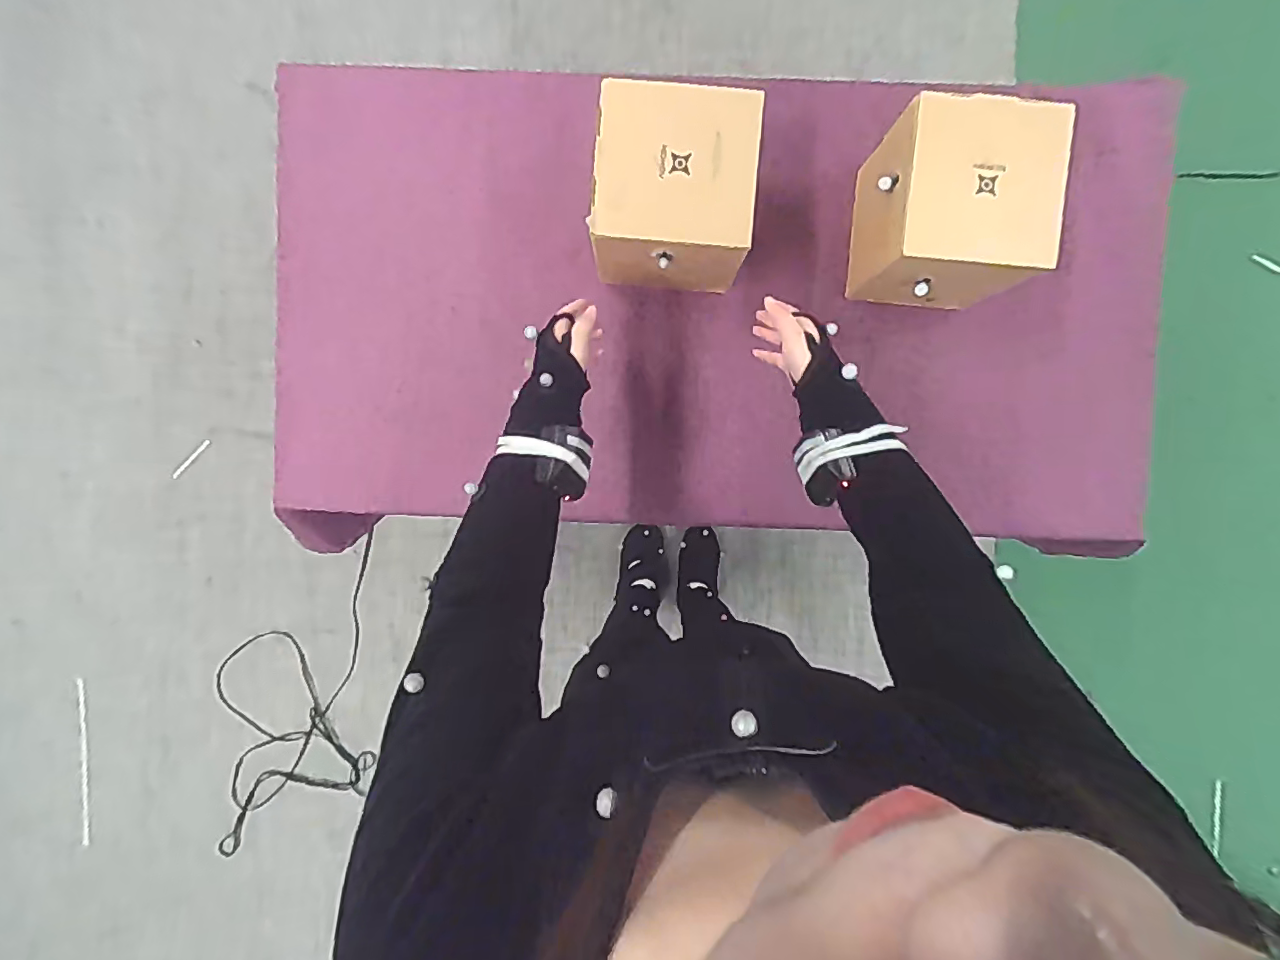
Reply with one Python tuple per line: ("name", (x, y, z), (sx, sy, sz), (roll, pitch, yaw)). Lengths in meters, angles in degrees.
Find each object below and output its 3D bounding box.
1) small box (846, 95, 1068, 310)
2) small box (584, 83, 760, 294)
("small box", (0.362, -0.316, 0.651), (0.168, 0.176, 0.179), (5, 91, 1))
("small box", (0.035, -0.336, 0.656), (0.179, 0.176, 0.168), (5, 92, 0))
